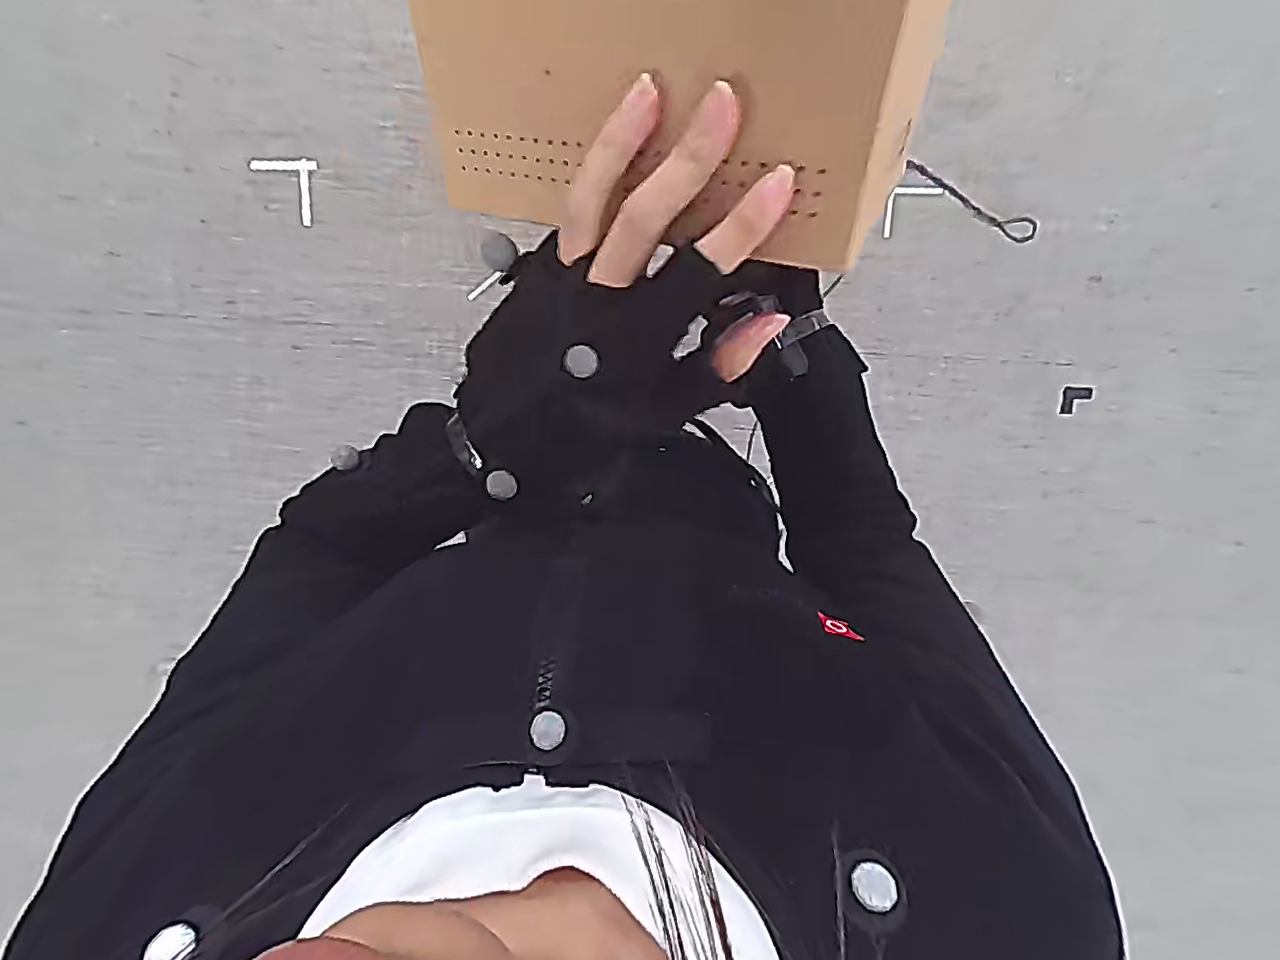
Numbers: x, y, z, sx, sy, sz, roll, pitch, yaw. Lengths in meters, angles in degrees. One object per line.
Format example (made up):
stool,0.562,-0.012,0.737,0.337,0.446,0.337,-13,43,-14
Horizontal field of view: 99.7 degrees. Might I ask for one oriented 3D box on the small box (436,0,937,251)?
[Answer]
small box,0.031,-0.212,0.232,0.179,0.168,0.176,17,134,20
